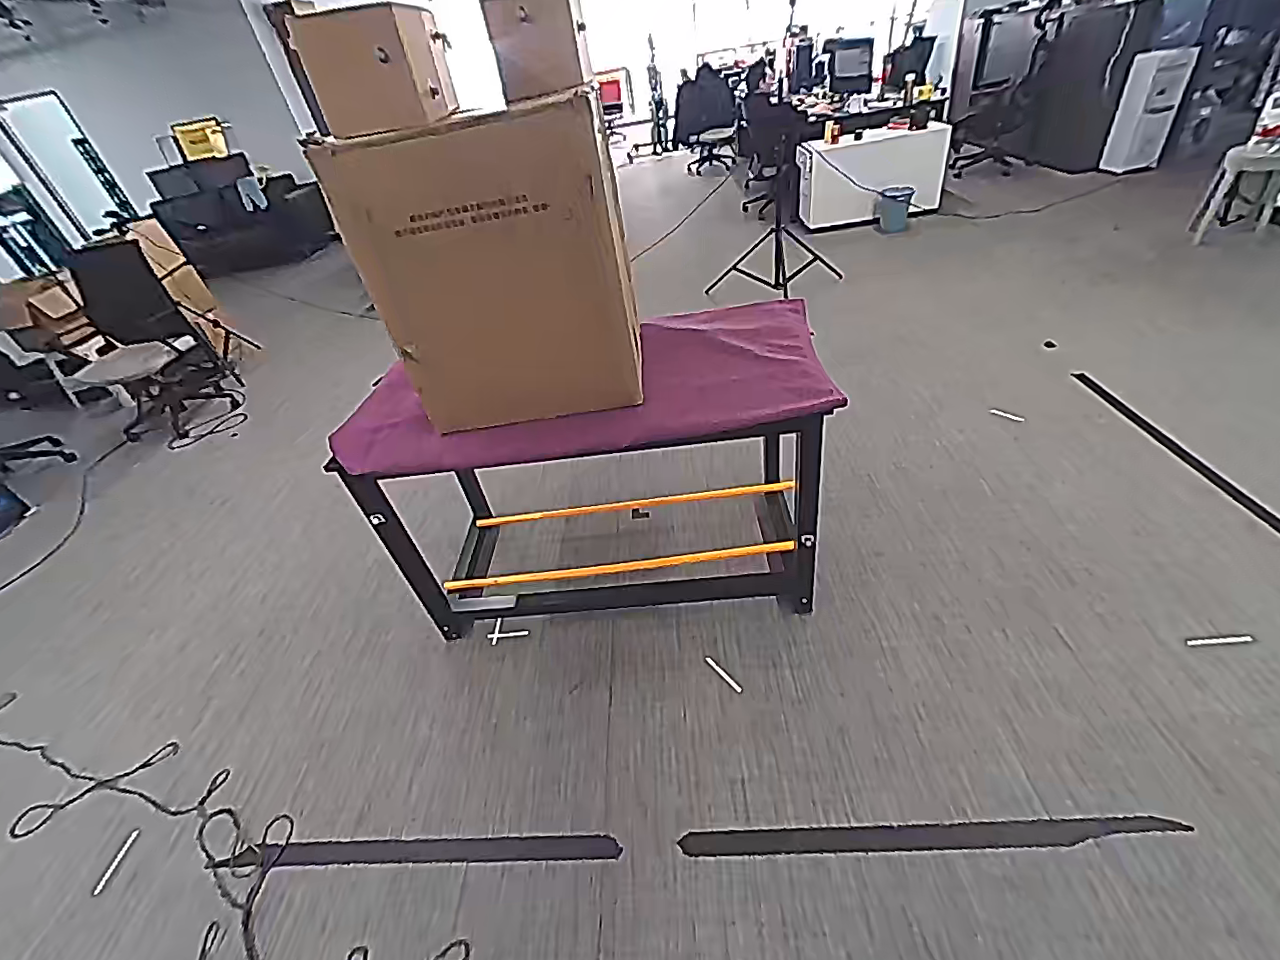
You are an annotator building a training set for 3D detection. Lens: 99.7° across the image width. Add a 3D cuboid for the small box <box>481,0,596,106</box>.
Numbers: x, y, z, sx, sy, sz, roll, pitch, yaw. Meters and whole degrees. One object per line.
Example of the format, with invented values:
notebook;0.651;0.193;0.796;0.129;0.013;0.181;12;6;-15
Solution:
small box;-0.197;-0.897;1.117;0.179;0.176;0.168;-5;39;10
